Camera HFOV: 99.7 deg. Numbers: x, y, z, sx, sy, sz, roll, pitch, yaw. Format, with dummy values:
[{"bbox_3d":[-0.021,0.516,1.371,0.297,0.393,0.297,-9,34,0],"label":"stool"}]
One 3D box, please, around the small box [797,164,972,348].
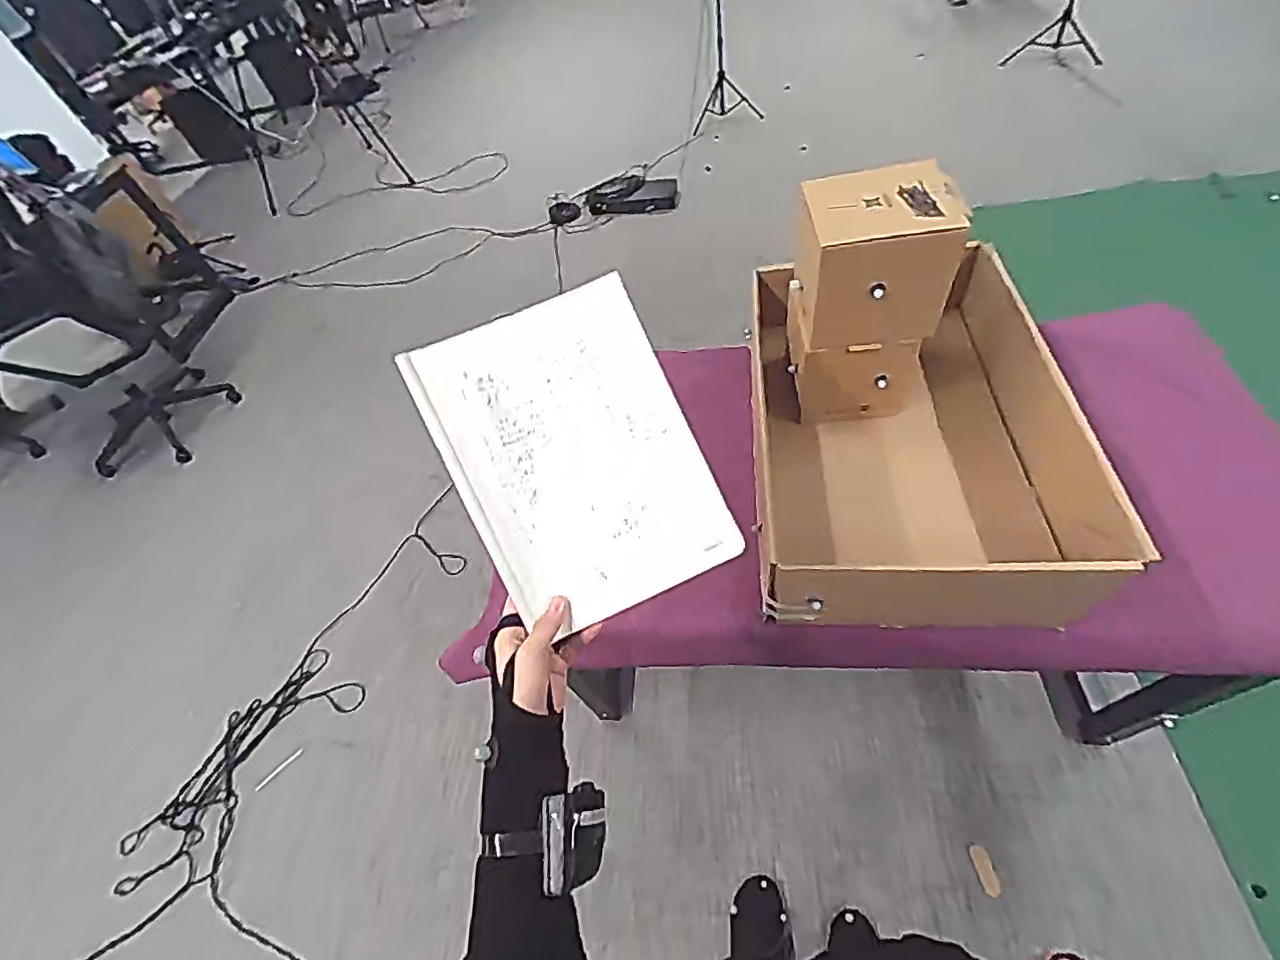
[{"bbox_3d":[0.326,-0.308,0.762,0.179,0.176,0.168,-4,54,9],"label":"small box"}]
